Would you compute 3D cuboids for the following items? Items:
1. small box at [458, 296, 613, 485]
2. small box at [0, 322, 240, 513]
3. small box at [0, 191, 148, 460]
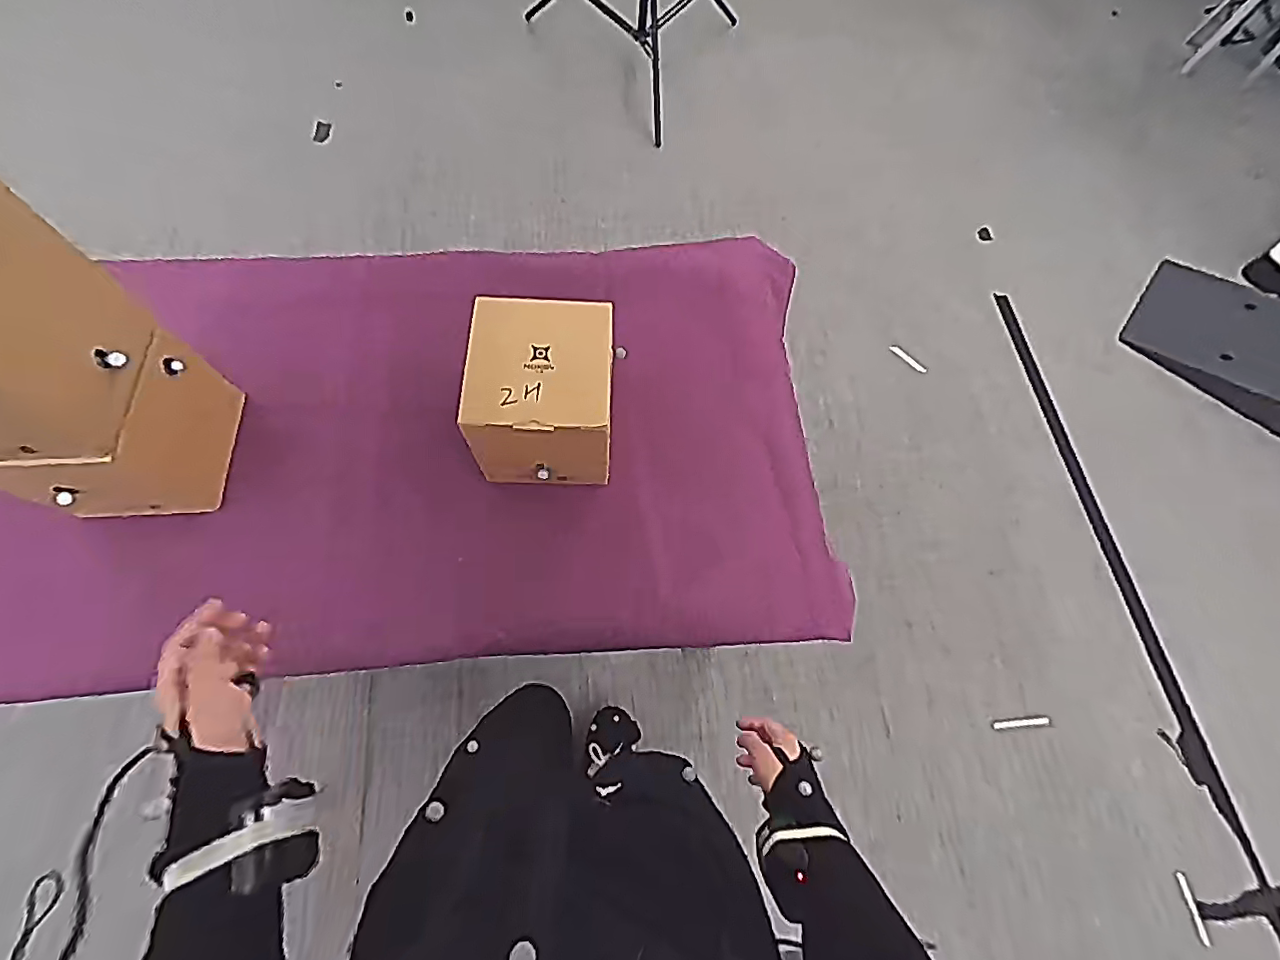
[{"bbox_3d":[-0.121,-0.108,0.696,0.168,0.176,0.179,1,68,-3],"label":"small box"},{"bbox_3d":[-0.620,-0.064,0.642,0.168,0.176,0.179,-3,68,-5],"label":"small box"},{"bbox_3d":[-0.609,-0.132,0.493,0.168,0.176,0.179,-3,67,-5],"label":"small box"}]
